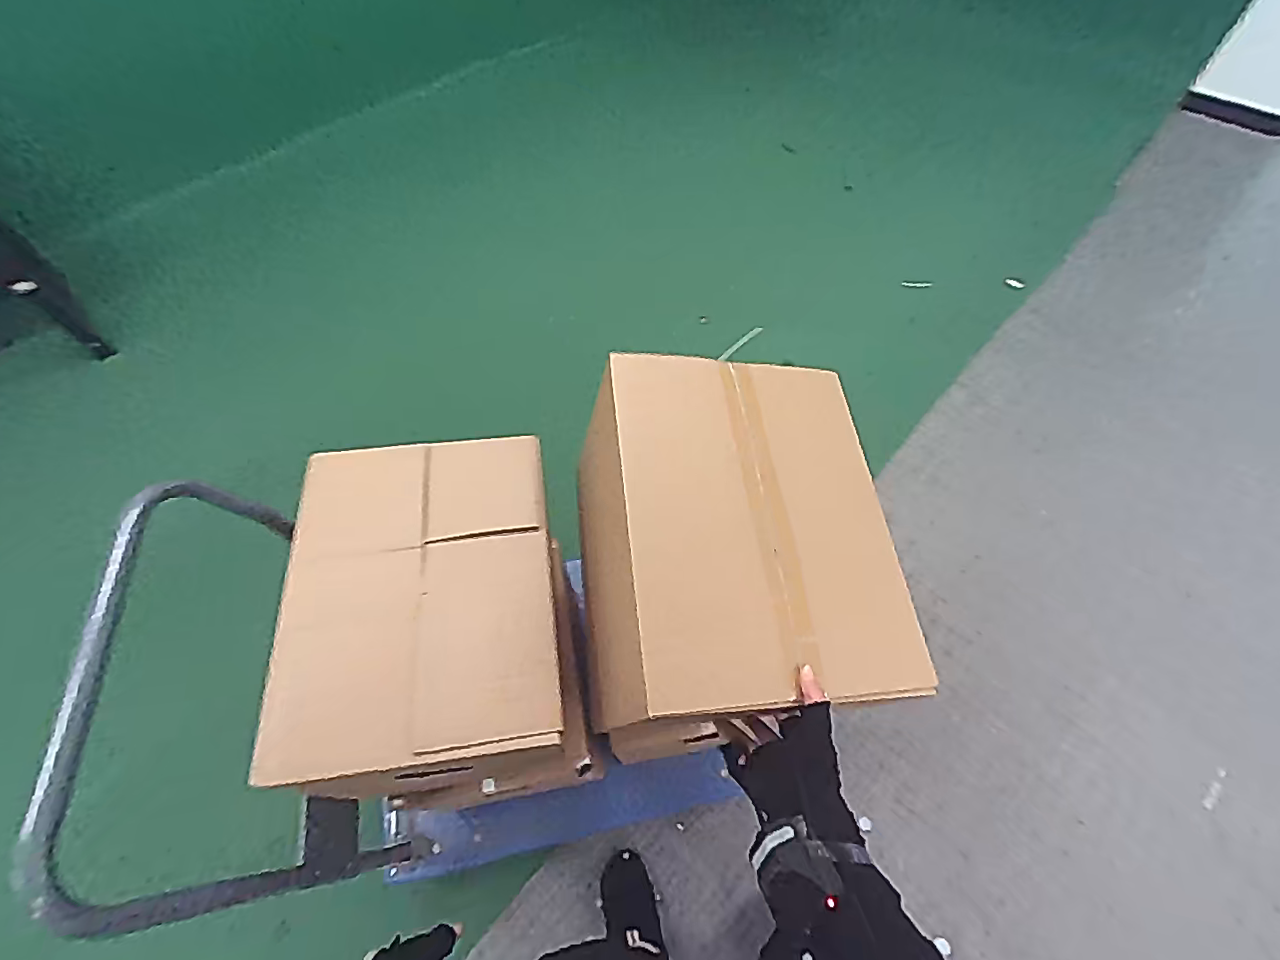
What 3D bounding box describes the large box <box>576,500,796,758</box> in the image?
[{"bbox_3d":[0.069,0.306,1.095,0.320,0.320,0.408,-11,61,-3],"label":"large box"}]
